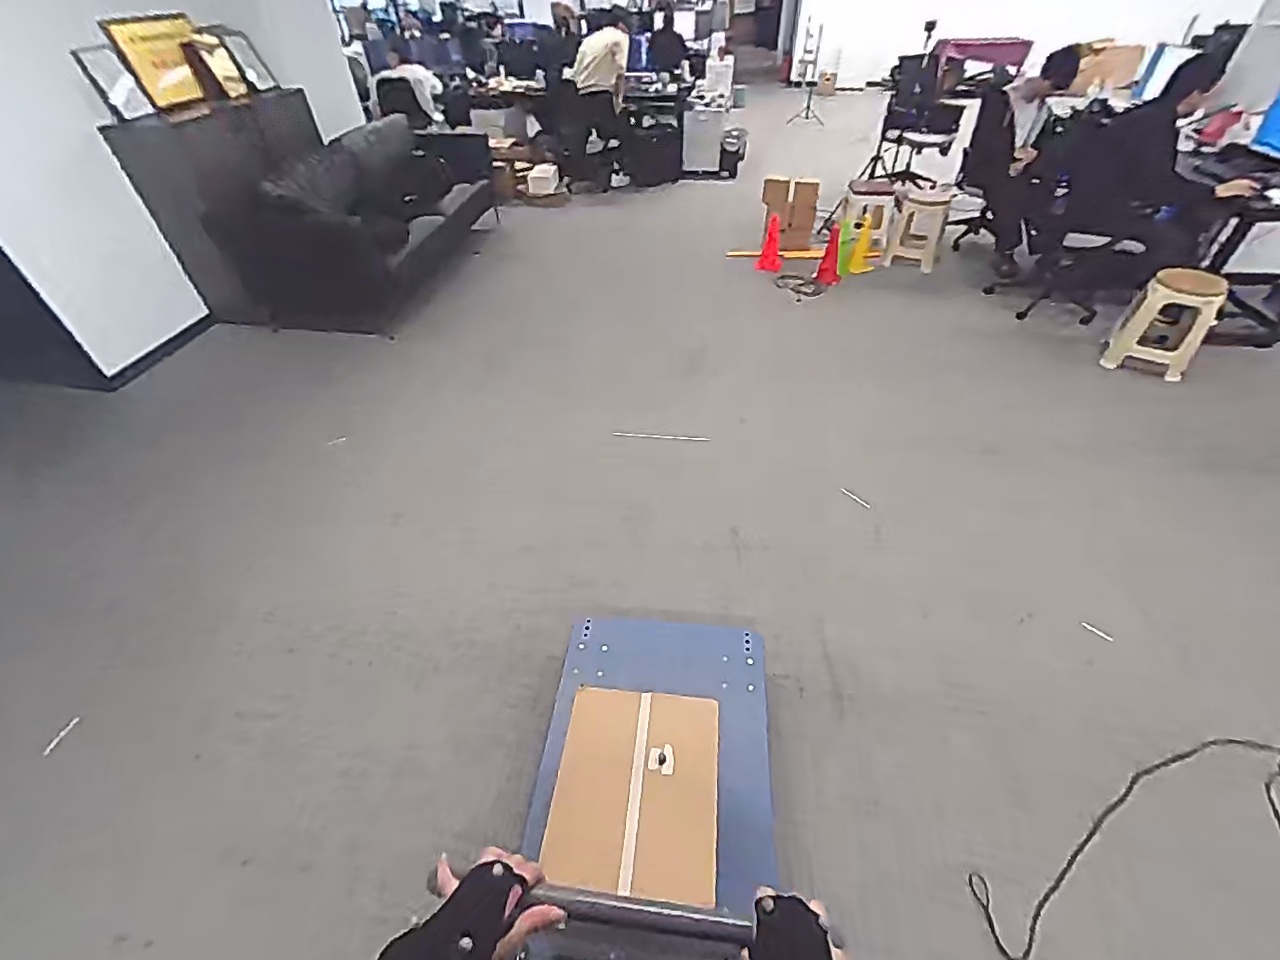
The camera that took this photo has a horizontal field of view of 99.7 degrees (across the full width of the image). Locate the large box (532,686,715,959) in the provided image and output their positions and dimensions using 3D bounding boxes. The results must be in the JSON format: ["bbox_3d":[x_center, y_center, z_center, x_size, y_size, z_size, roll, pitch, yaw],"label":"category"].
[{"bbox_3d":[-0.009,0.708,1.137,0.320,0.320,0.408,4,42,5],"label":"large box"}]
